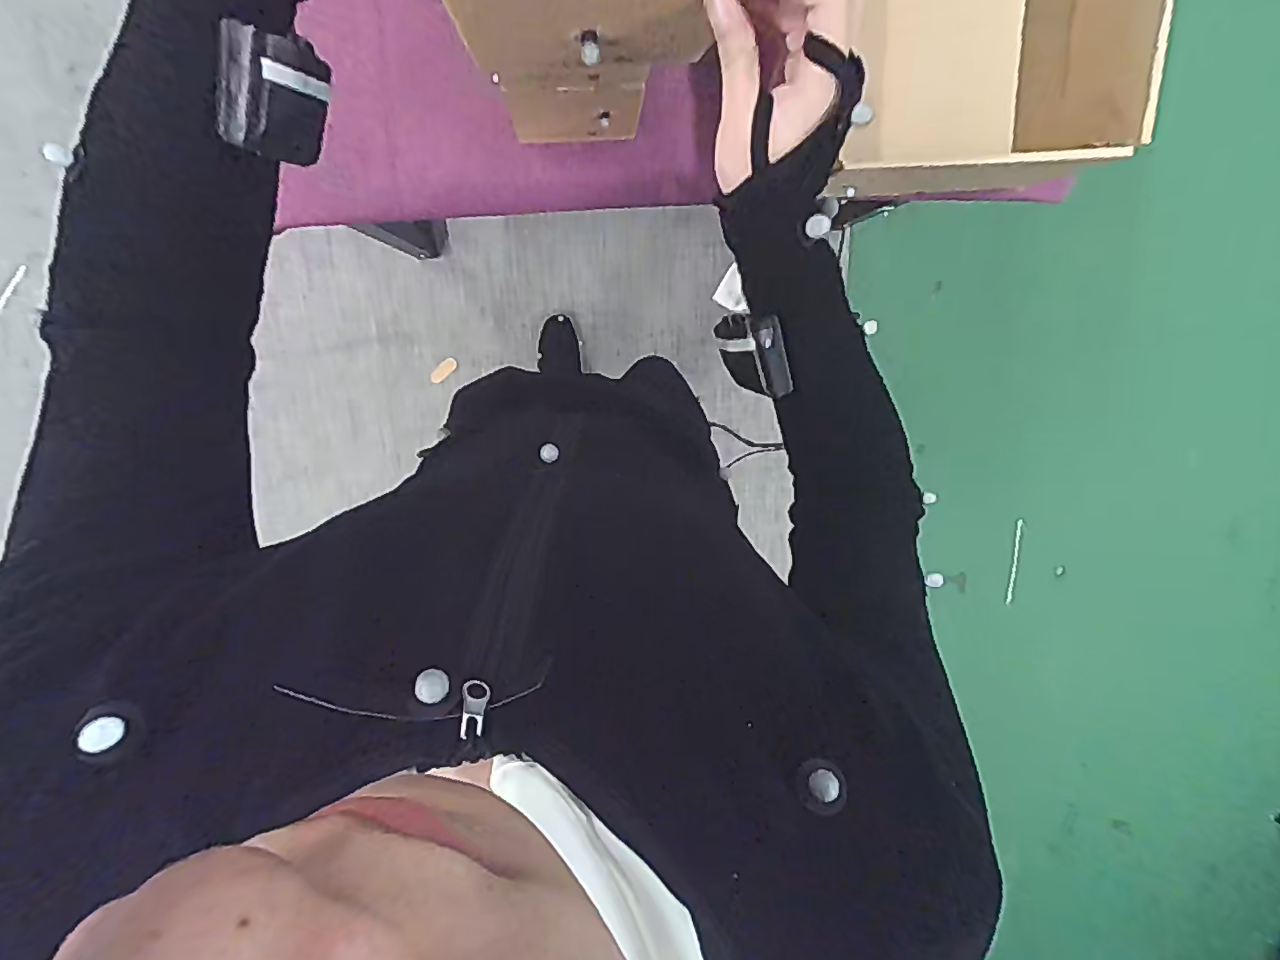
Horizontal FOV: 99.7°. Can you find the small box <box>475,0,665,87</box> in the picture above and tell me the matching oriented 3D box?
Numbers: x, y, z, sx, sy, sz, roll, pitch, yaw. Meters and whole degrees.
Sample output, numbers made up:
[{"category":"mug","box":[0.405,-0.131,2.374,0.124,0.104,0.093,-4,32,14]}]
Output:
[{"category":"small box","box":[-0.070,-0.503,0.512,0.168,0.176,0.179,-5,104,-6]}]

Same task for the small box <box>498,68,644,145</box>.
[{"category":"small box","box":[-0.087,-0.538,0.671,0.168,0.176,0.179,-5,103,-5]}]
